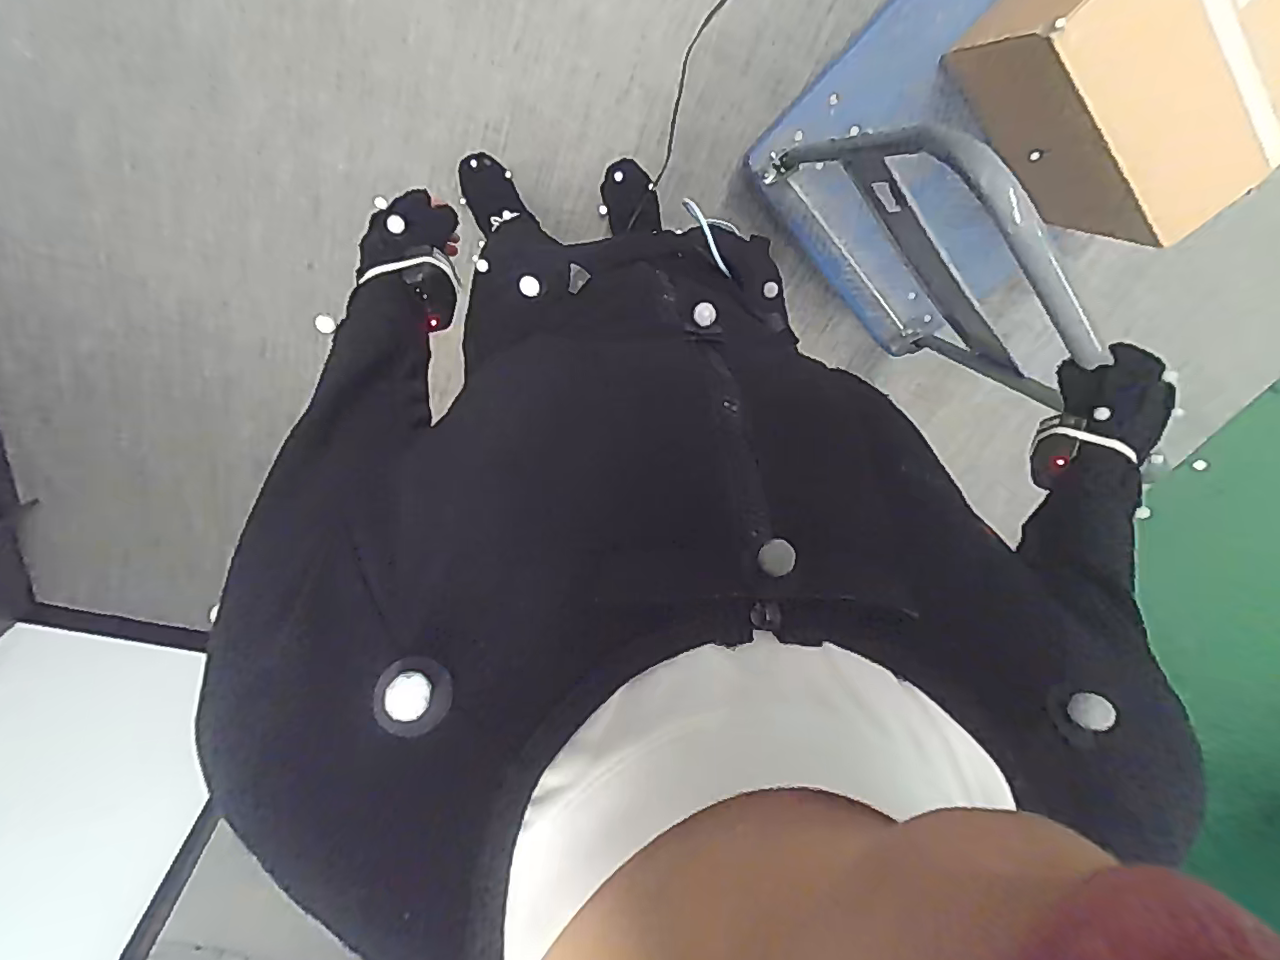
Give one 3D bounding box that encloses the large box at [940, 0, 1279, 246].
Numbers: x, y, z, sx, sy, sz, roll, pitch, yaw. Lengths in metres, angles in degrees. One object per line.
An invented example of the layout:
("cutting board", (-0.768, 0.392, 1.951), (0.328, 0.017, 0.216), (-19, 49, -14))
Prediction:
("large box", (0.779, -0.652, 0.855), (0.408, 0.320, 0.320), (37, 115, -21))
